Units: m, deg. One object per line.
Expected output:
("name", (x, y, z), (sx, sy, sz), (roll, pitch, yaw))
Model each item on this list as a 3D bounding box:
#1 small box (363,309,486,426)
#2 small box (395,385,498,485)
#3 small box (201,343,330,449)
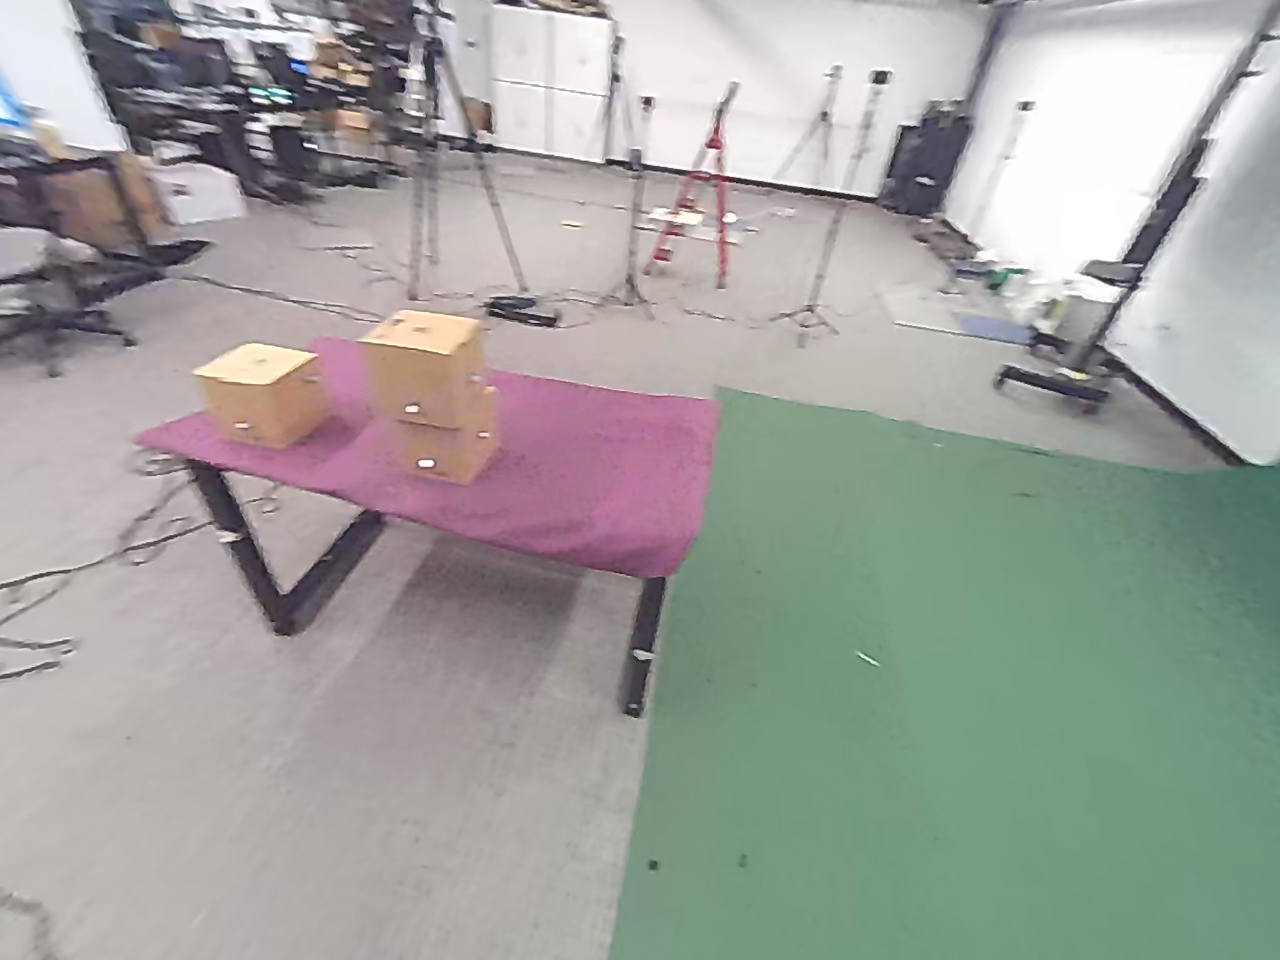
("small box", (-0.429, -0.230, 1.113), (0.179, 0.176, 0.168), (10, 38, 3))
("small box", (-0.433, -0.116, 1.235), (0.168, 0.176, 0.179), (11, 38, 6))
("small box", (-0.859, -0.197, 1.264), (0.168, 0.176, 0.179), (10, 37, 4))
